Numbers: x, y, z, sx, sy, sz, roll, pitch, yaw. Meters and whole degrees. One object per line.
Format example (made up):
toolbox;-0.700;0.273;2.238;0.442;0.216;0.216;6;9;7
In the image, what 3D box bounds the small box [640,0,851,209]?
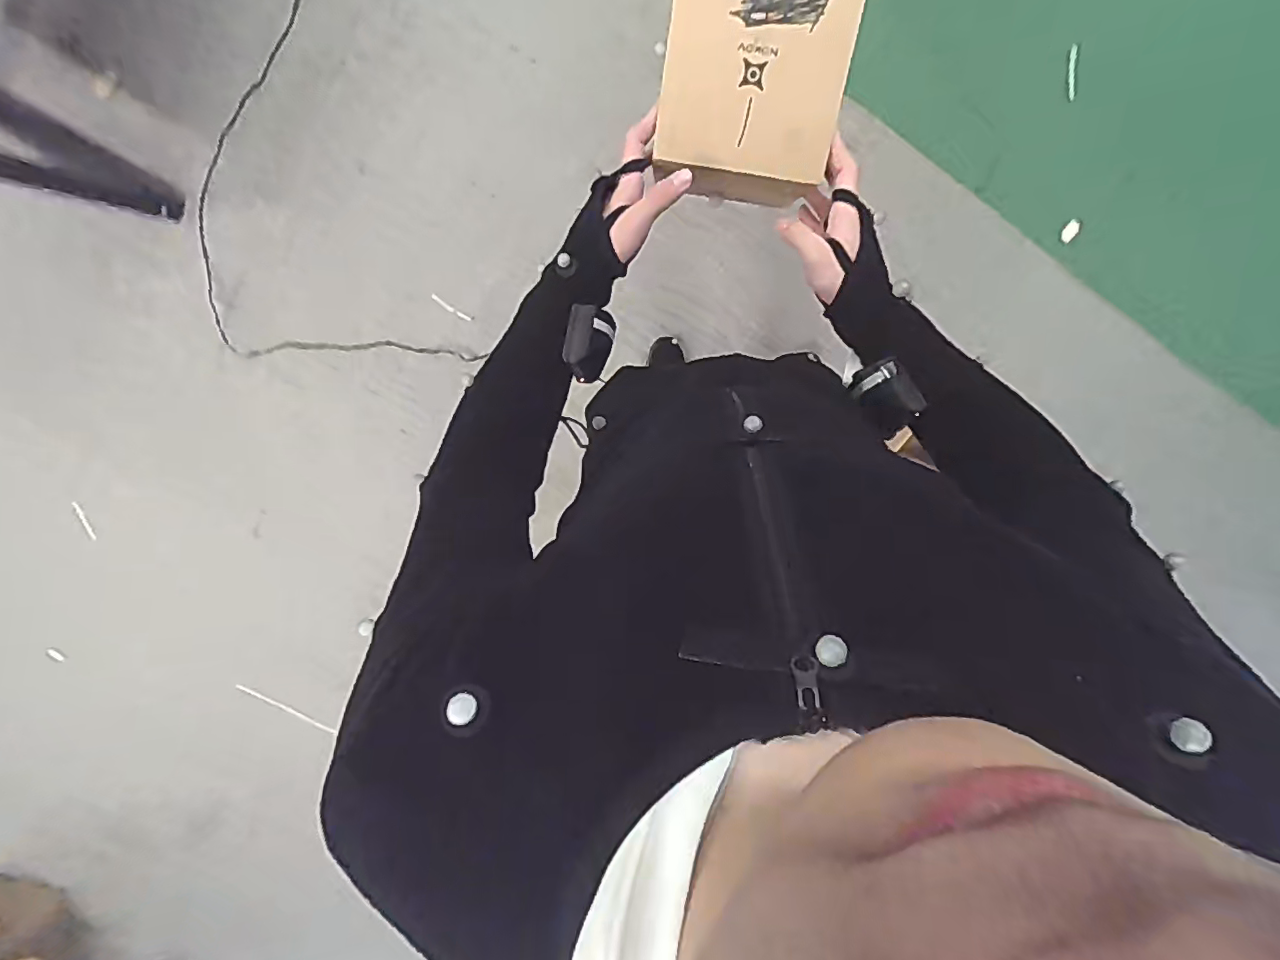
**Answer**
small box;0.094;-0.397;0.558;0.168;0.176;0.179;8;110;-1
